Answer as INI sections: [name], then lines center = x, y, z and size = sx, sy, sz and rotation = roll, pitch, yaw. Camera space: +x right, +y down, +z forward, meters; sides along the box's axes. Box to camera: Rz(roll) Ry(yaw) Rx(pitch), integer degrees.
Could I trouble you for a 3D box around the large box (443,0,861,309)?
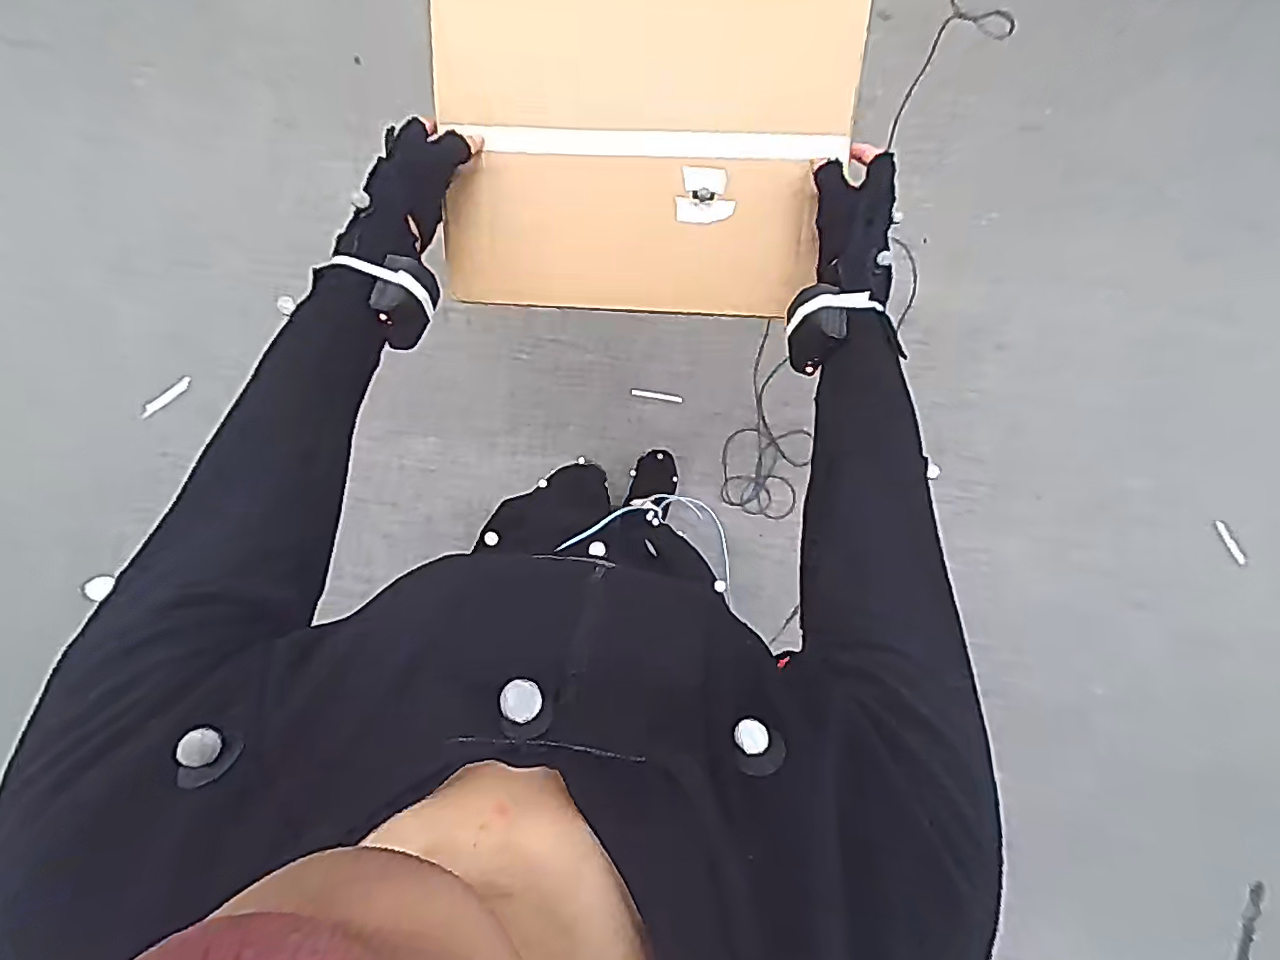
[large box]
center = 0.009, -0.387, 0.686
size = 0.408, 0.320, 0.320
rotation = 4, 108, 2
